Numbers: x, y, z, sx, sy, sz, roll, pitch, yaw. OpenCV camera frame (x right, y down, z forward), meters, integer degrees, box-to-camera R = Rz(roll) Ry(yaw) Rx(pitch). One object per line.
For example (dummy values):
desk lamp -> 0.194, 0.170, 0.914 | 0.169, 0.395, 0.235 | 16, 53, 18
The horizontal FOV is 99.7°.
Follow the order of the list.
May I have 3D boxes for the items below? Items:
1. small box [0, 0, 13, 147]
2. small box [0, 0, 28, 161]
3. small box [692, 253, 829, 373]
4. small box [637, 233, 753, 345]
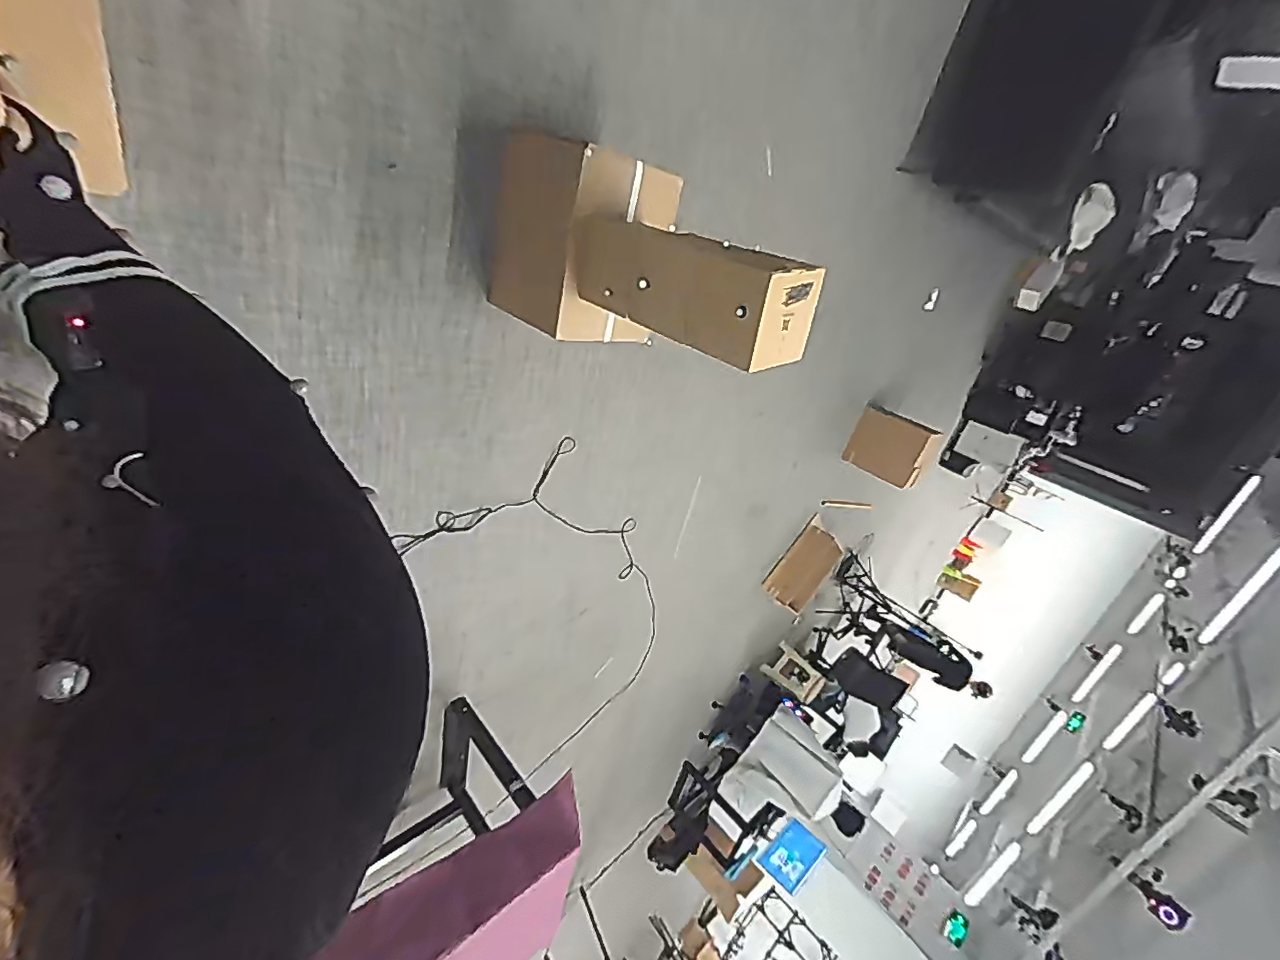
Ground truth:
small box -> -0.547, -0.337, 0.355 | 0.168, 0.176, 0.179 | 5, 106, -48
small box -> -0.676, -0.421, 0.482 | 0.168, 0.176, 0.179 | 2, 116, -47
small box -> 0.218, -0.322, 1.017 | 0.168, 0.176, 0.179 | -20, 132, -36
small box -> 0.111, -0.398, 1.118 | 0.168, 0.176, 0.179 | -20, 132, -37
